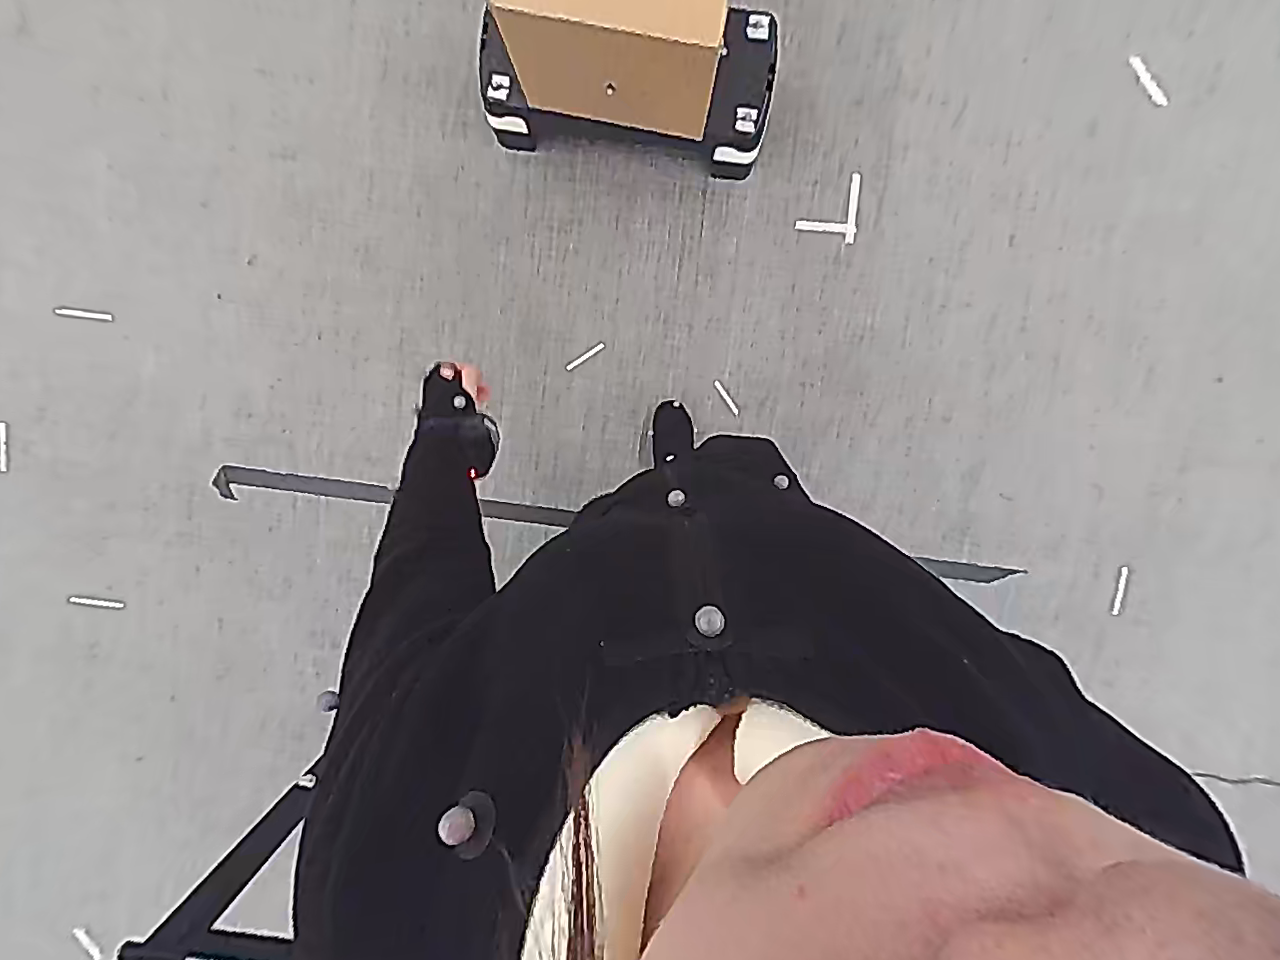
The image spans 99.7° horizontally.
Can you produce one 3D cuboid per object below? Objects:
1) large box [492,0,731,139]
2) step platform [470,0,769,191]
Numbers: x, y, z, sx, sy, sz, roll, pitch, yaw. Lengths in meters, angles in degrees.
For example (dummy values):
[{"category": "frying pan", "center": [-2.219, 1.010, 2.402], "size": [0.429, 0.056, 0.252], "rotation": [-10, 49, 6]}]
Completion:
[{"category": "large box", "center": [-0.028, -0.923, 1.052], "size": [0.408, 0.320, 0.320], "rotation": [10, 95, 1]}, {"category": "step platform", "center": [-0.046, -0.939, 1.290], "size": [0.684, 0.204, 0.286], "rotation": [13, 96, 0]}]
